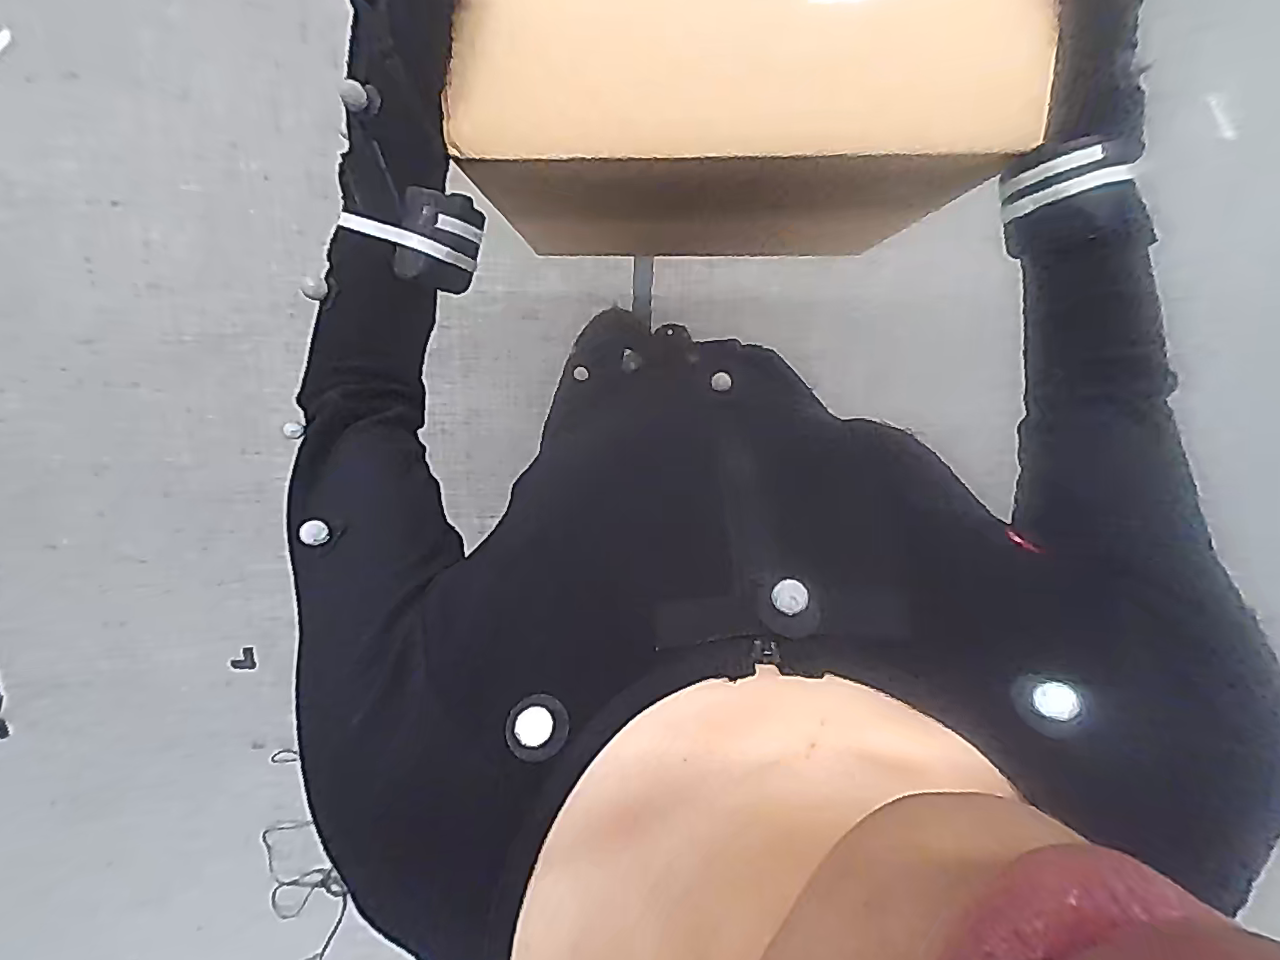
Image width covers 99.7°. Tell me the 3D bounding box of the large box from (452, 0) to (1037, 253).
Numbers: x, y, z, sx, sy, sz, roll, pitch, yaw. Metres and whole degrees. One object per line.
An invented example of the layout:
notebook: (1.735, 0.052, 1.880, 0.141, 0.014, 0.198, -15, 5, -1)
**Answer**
large box: (0.068, -0.413, 0.501, 0.408, 0.320, 0.320, 0, 101, 0)
